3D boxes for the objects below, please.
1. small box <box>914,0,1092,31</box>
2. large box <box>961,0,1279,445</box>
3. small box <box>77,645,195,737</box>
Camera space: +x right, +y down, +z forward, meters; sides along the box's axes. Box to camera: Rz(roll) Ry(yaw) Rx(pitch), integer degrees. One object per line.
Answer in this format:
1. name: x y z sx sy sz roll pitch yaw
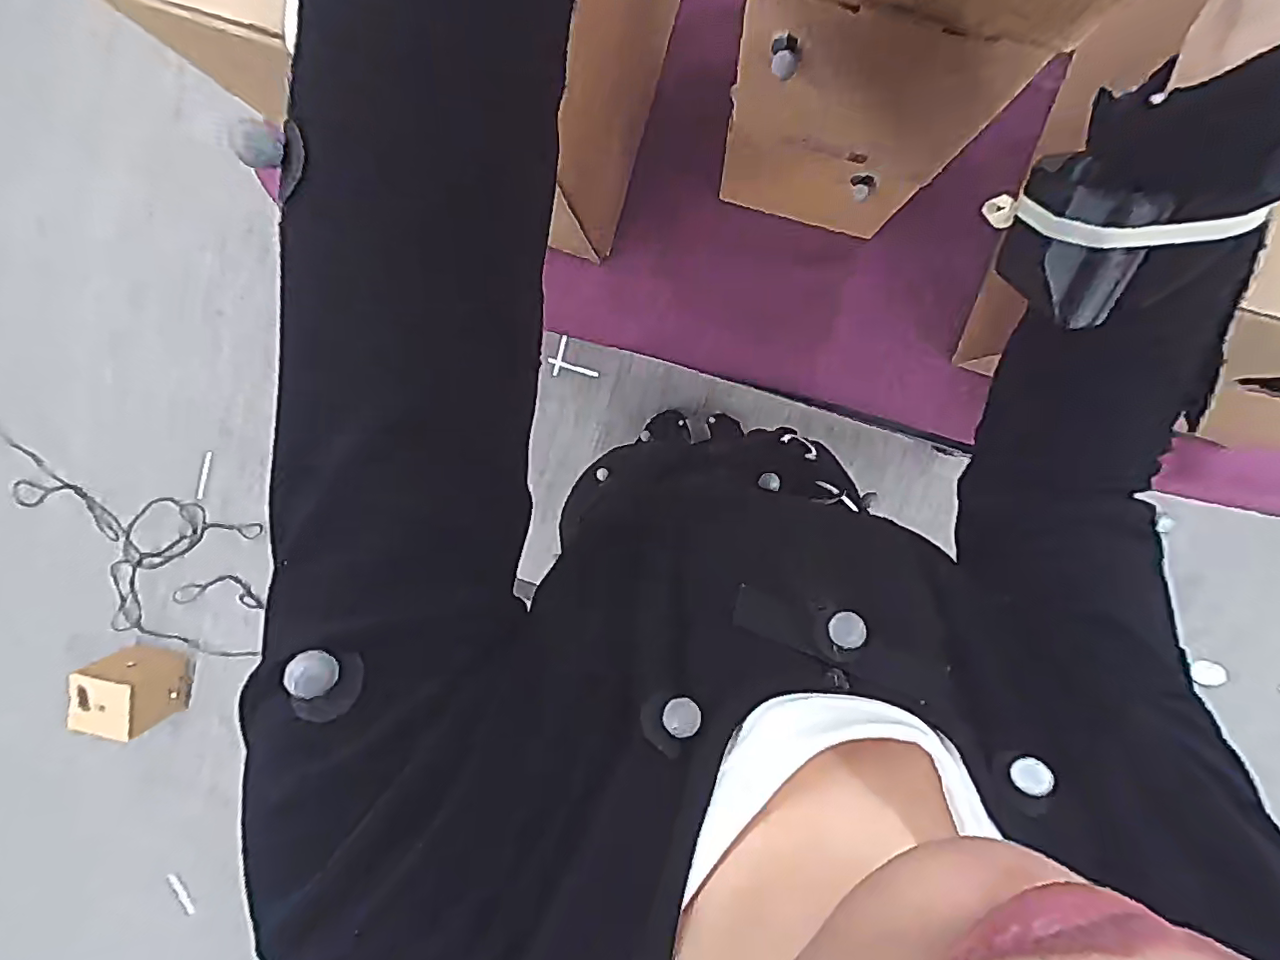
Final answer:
1. small box: 0.159 -0.313 0.190 0.179 0.176 0.168 19 99 3
2. large box: 0.532 -0.255 0.420 0.320 0.320 0.408 18 97 3
3. small box: -1.415 0.585 1.524 0.179 0.176 0.168 11 99 4
